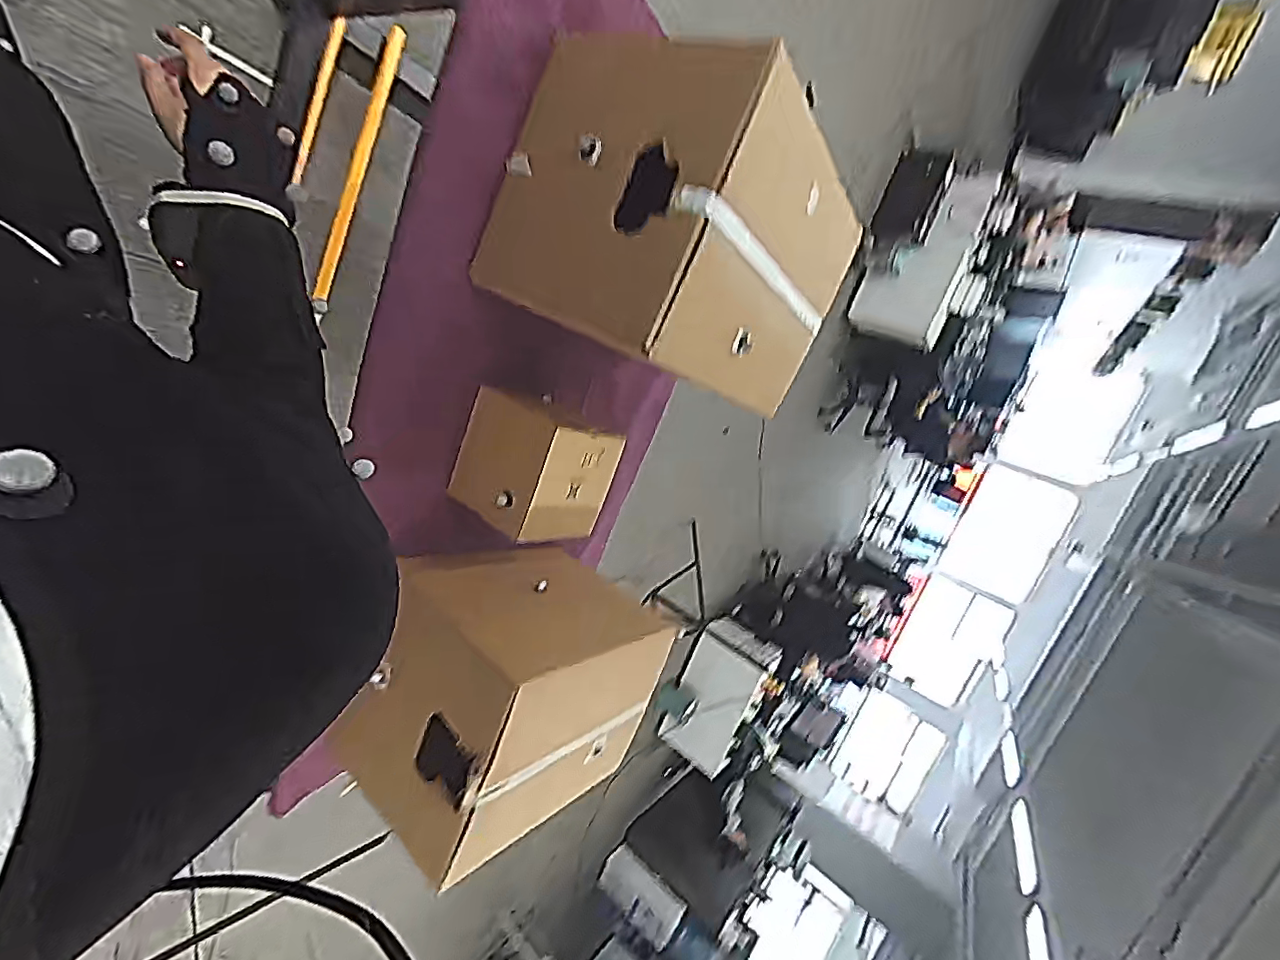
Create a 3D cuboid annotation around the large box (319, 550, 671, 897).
[{"bbox_3d":[-0.217,0.327,0.879,0.408,0.320,0.320,6,109,-60],"label":"large box"}]
